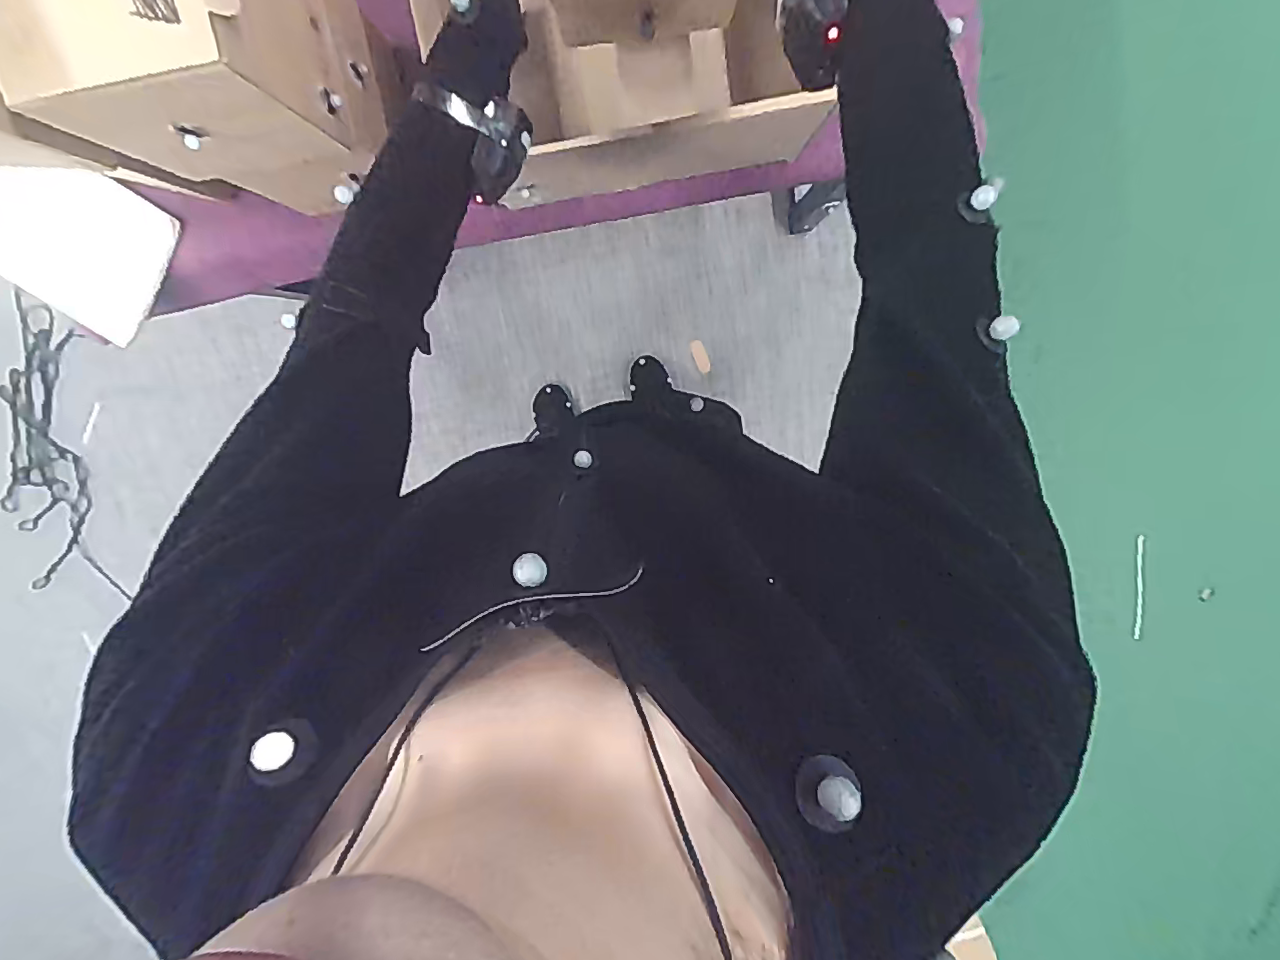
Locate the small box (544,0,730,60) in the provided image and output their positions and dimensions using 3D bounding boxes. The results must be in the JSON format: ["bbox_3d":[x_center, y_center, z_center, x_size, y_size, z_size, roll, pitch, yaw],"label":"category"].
[{"bbox_3d":[-0.006,-0.504,0.469,0.179,0.176,0.168,-7,106,1],"label":"small box"}]

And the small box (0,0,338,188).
[{"bbox_3d":[-0.389,-0.374,0.459,0.179,0.176,0.168,-9,100,4],"label":"small box"}]
